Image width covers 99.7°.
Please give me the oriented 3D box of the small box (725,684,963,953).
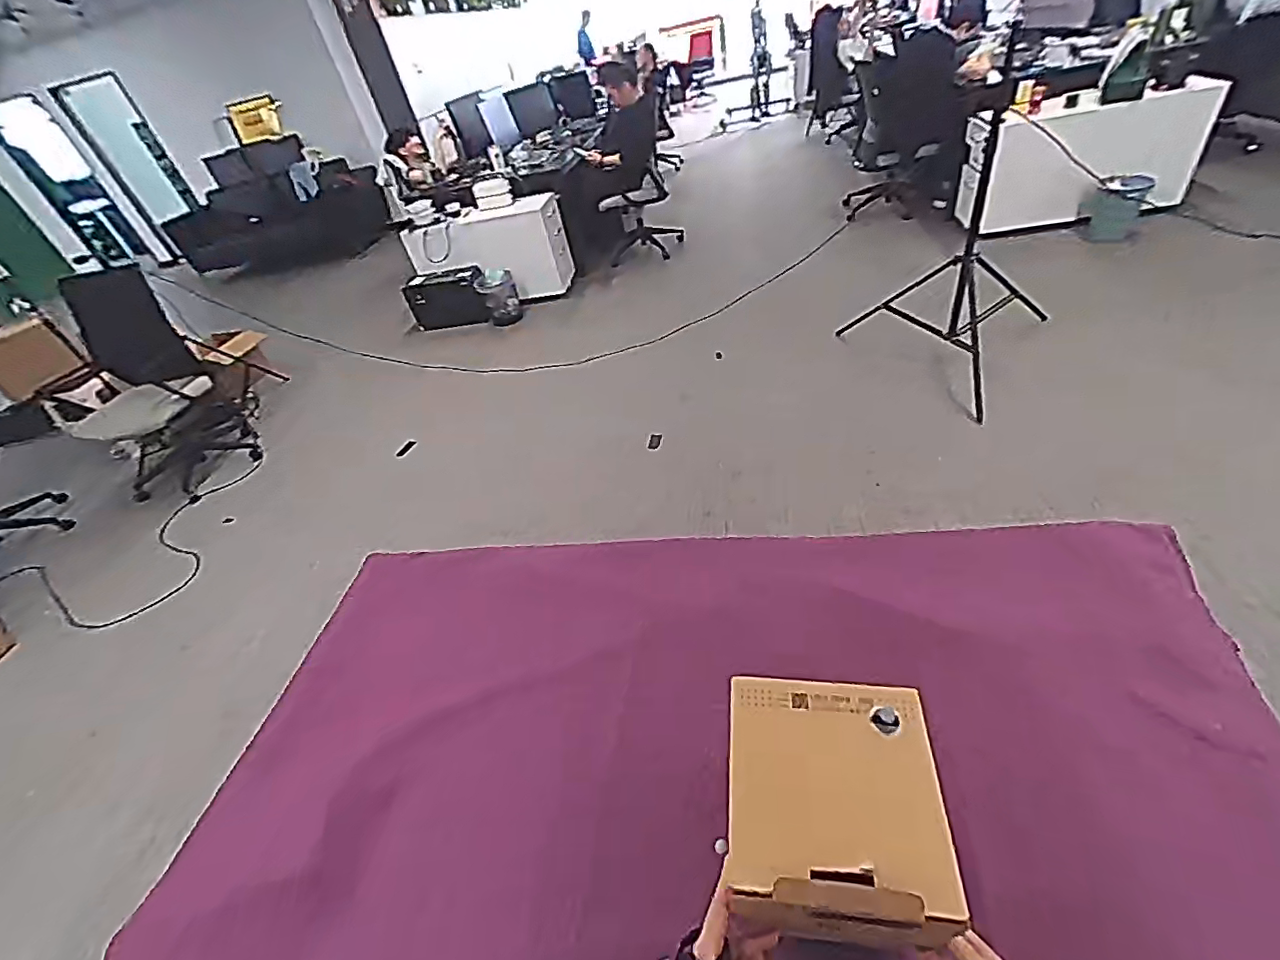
[{"bbox_3d":[0.163,0.305,0.498,0.168,0.179,0.176,1,45,10],"label":"small box"}]
